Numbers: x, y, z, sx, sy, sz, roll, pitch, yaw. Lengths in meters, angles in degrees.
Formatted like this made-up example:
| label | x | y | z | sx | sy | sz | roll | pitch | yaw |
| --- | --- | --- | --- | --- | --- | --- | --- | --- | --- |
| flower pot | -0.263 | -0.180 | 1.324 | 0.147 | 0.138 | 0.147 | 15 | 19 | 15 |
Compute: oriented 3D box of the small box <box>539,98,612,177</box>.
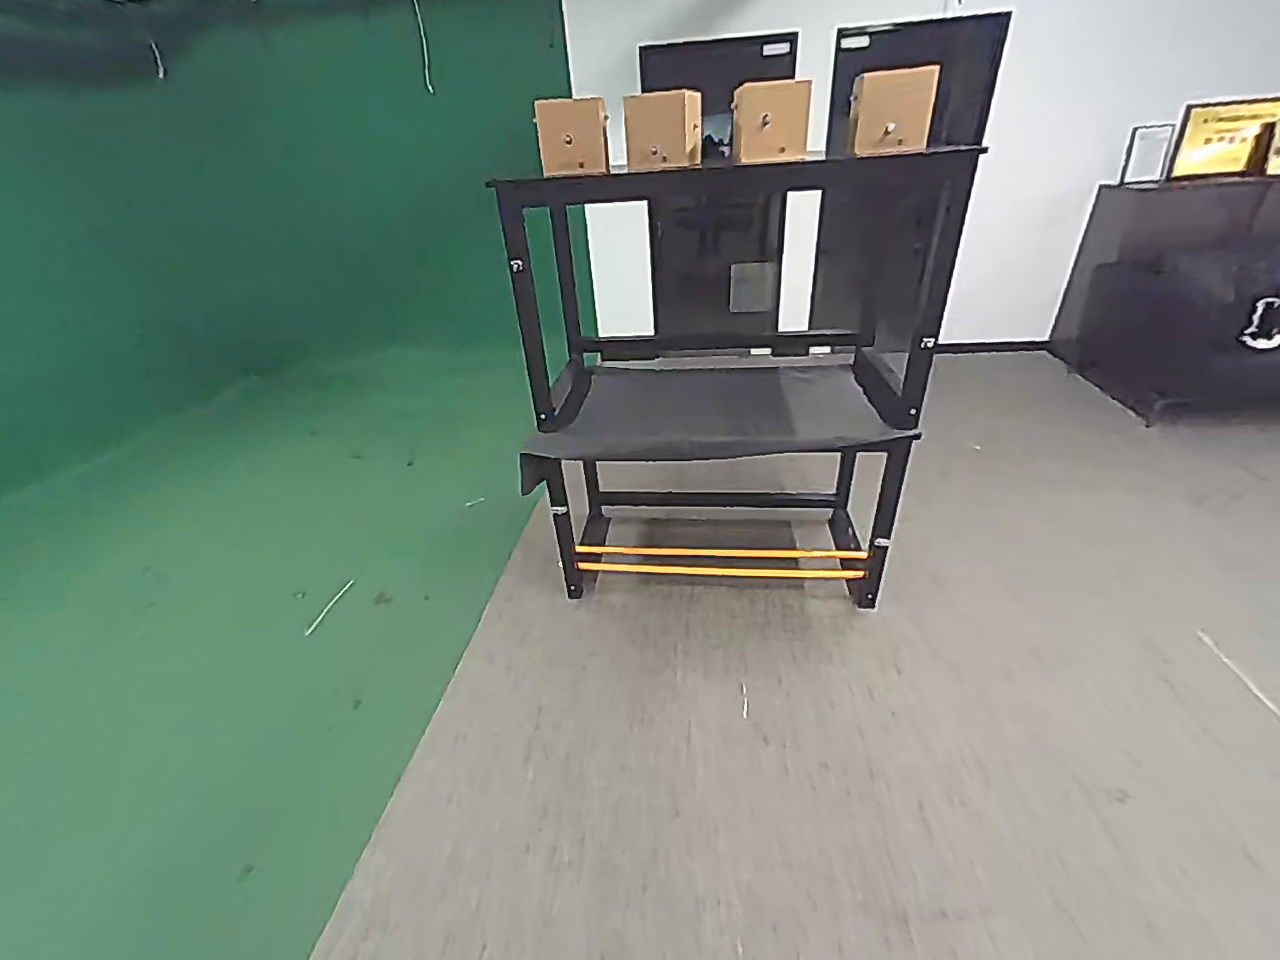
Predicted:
| label | x | y | z | sx | sy | sz | roll | pitch | yaw |
| --- | --- | --- | --- | --- | --- | --- | --- | --- | --- |
| small box | -0.167 | -0.926 | 1.469 | 0.168 | 0.176 | 0.179 | -1 | 32 | 4 |

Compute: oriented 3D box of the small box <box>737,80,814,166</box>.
| label | x | y | z | sx | sy | sz | roll | pitch | yaw |
| --- | --- | --- | --- | --- | --- | --- | --- | --- | --- |
| small box | 0.342 | -0.916 | 1.397 | 0.168 | 0.176 | 0.179 | -2 | 31 | 3 |

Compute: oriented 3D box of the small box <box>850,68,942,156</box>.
| label | x | y | z | sx | sy | sz | roll | pitch | yaw |
| --- | --- | --- | --- | --- | --- | --- | --- | --- | --- |
| small box | 0.634 | -0.920 | 1.363 | 0.168 | 0.176 | 0.179 | 3 | 33 | 12 |
